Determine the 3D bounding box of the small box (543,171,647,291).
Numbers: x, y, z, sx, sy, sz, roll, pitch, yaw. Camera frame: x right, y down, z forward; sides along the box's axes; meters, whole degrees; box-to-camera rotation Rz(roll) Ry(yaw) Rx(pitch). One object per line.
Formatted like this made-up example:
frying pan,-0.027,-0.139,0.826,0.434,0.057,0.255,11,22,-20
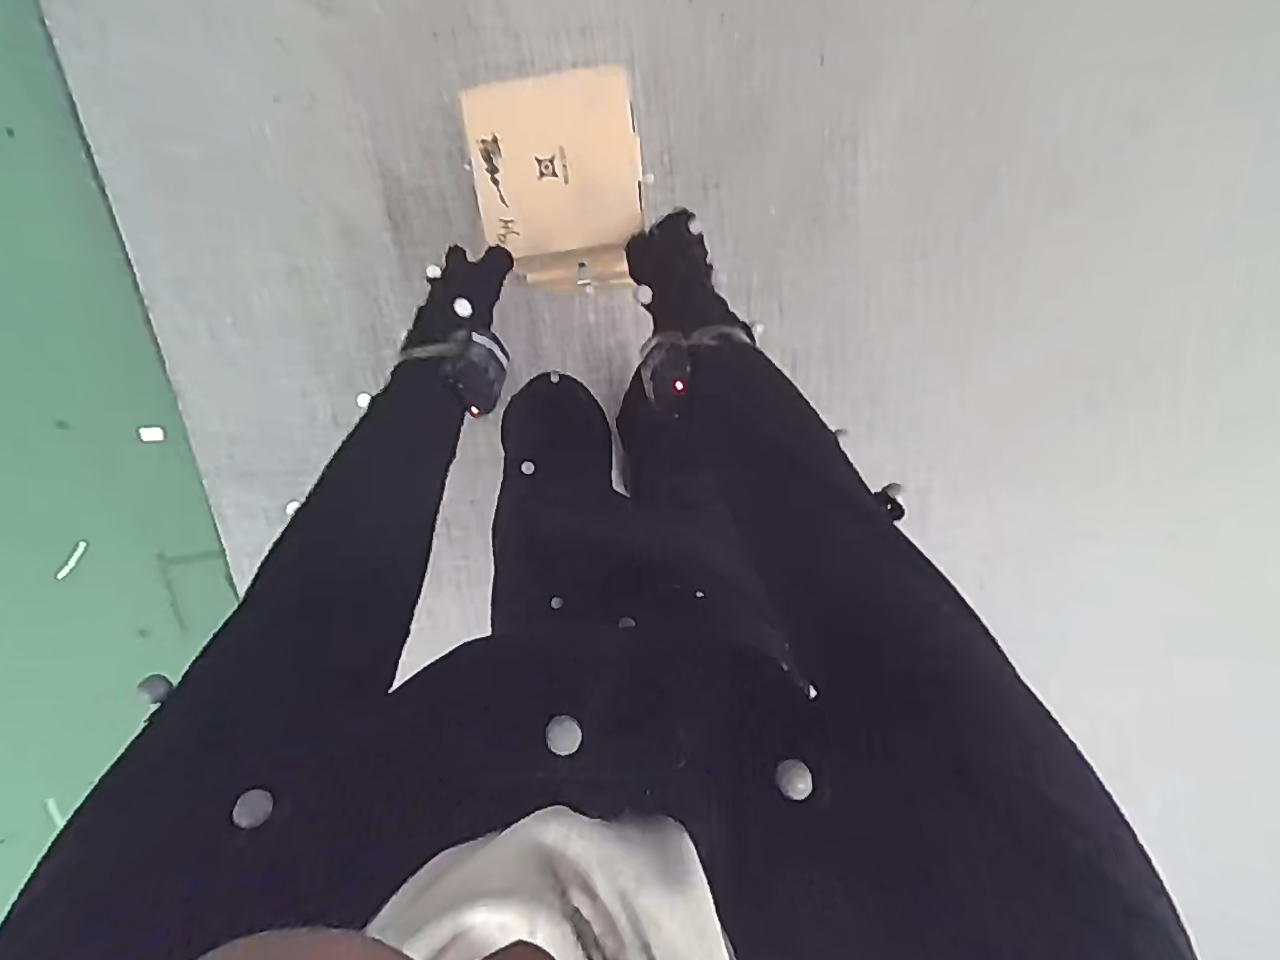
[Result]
small box,-0.079,-0.432,0.961,0.179,0.176,0.168,-4,106,1

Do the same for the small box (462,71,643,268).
small box,-0.089,-0.352,0.646,0.179,0.176,0.168,-4,106,3

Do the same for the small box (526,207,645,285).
small box,-0.083,-0.394,0.804,0.168,0.176,0.179,-5,107,4
